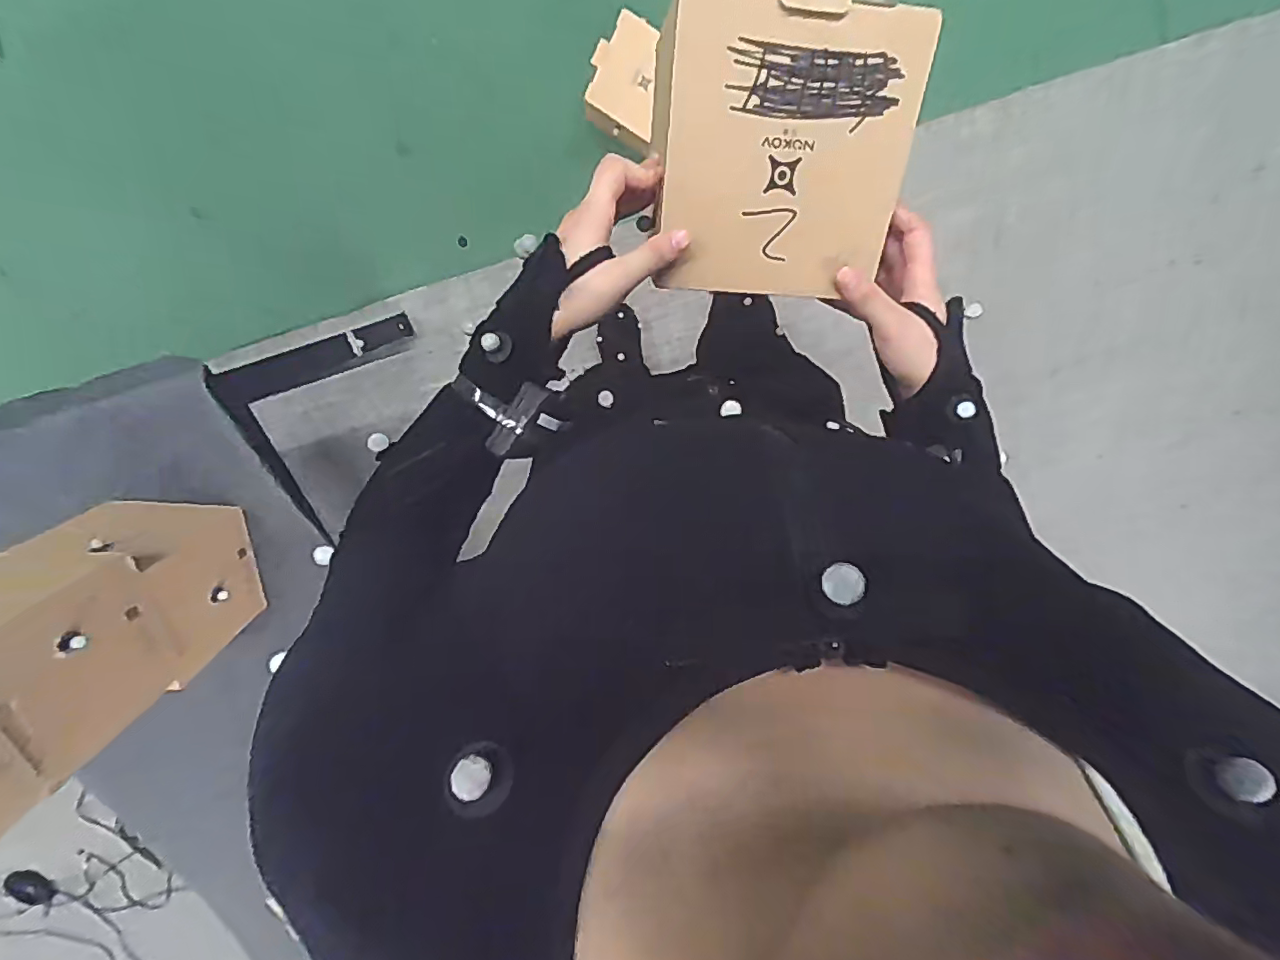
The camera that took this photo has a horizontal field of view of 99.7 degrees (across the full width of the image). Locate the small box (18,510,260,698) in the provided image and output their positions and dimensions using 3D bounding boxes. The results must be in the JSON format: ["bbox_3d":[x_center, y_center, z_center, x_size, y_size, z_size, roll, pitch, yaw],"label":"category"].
[{"bbox_3d":[-0.617,0.147,0.679,0.179,0.176,0.168,3,113,-1],"label":"small box"}]

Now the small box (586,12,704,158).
[{"bbox_3d":[0.008,-0.787,1.104,0.179,0.176,0.168,27,110,-12],"label":"small box"}]
